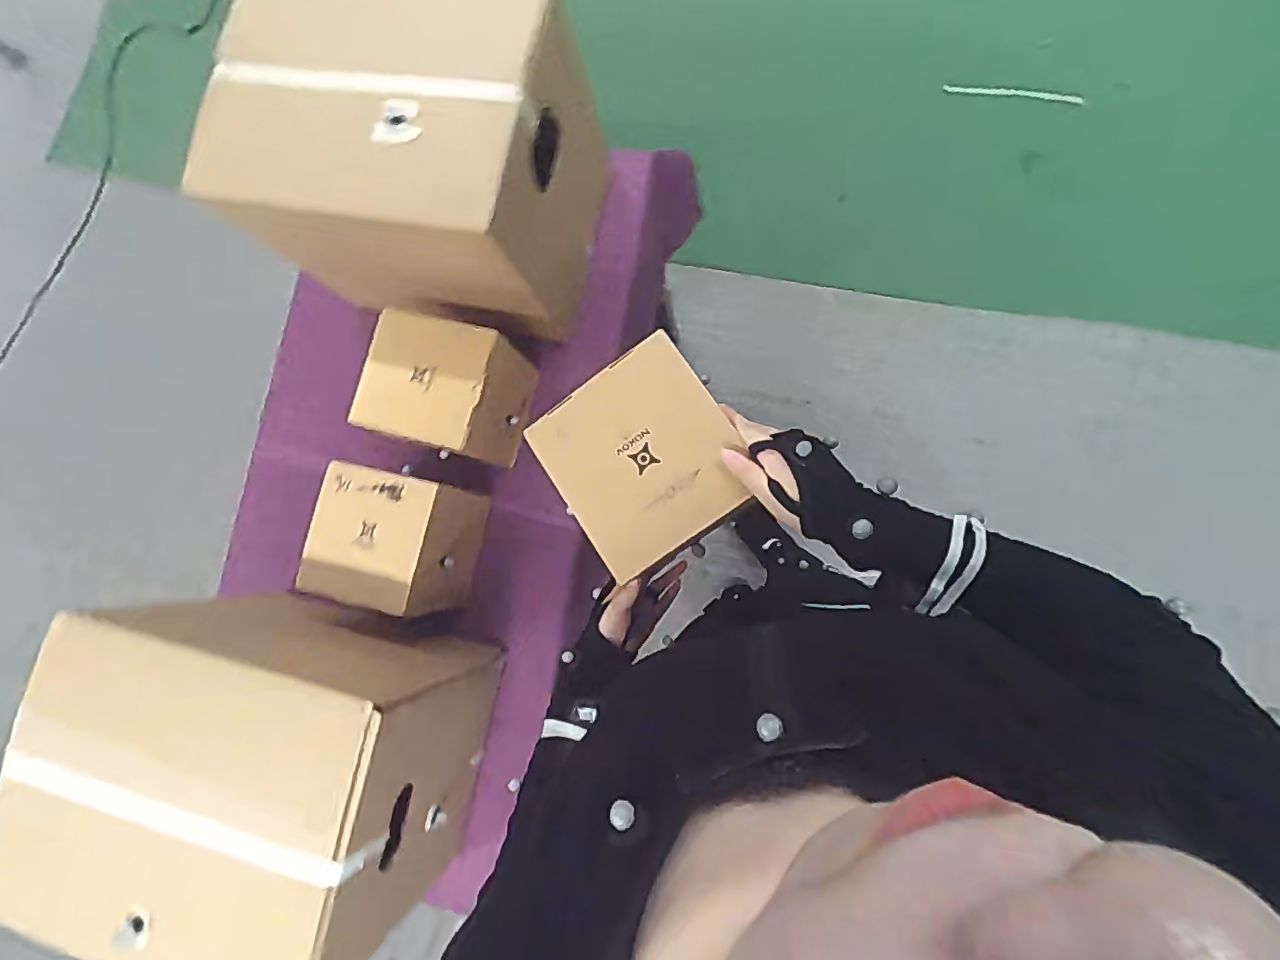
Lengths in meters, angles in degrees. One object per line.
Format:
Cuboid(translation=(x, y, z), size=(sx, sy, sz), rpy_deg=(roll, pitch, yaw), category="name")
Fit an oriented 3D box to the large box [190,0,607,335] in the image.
Cuboid(translation=(-0.295, -0.434, 0.775), size=(0.408, 0.320, 0.320), rpy_deg=(12, 84, 9), category="large box")
